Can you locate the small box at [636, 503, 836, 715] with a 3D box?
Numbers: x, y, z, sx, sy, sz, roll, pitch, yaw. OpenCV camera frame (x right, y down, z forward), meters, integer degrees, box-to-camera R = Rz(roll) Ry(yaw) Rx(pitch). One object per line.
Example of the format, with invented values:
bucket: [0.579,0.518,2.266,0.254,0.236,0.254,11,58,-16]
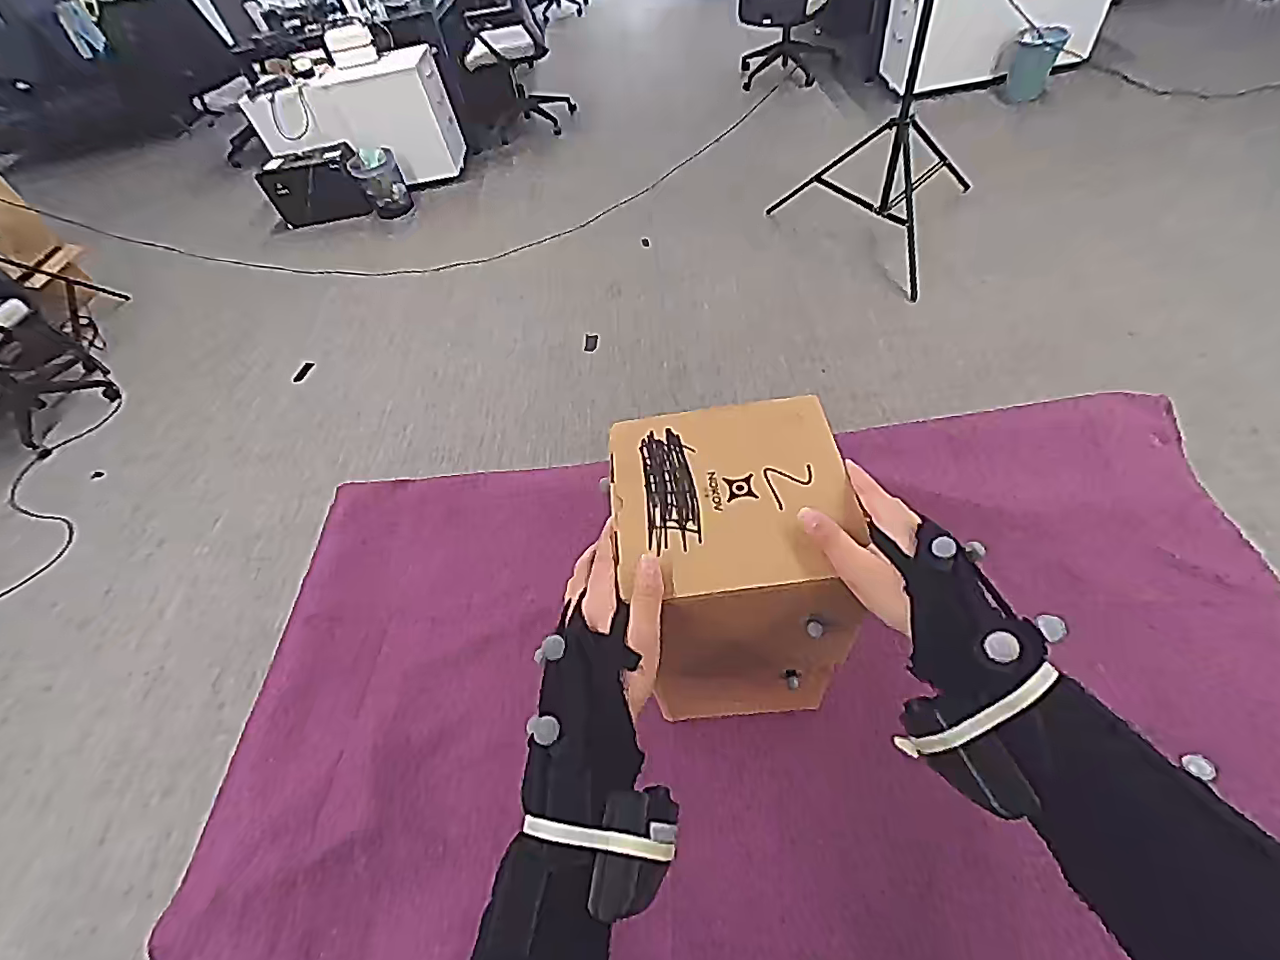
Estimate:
small box: [0.097,0.147,0.593,0.179,0.176,0.168,-7,52,4]
